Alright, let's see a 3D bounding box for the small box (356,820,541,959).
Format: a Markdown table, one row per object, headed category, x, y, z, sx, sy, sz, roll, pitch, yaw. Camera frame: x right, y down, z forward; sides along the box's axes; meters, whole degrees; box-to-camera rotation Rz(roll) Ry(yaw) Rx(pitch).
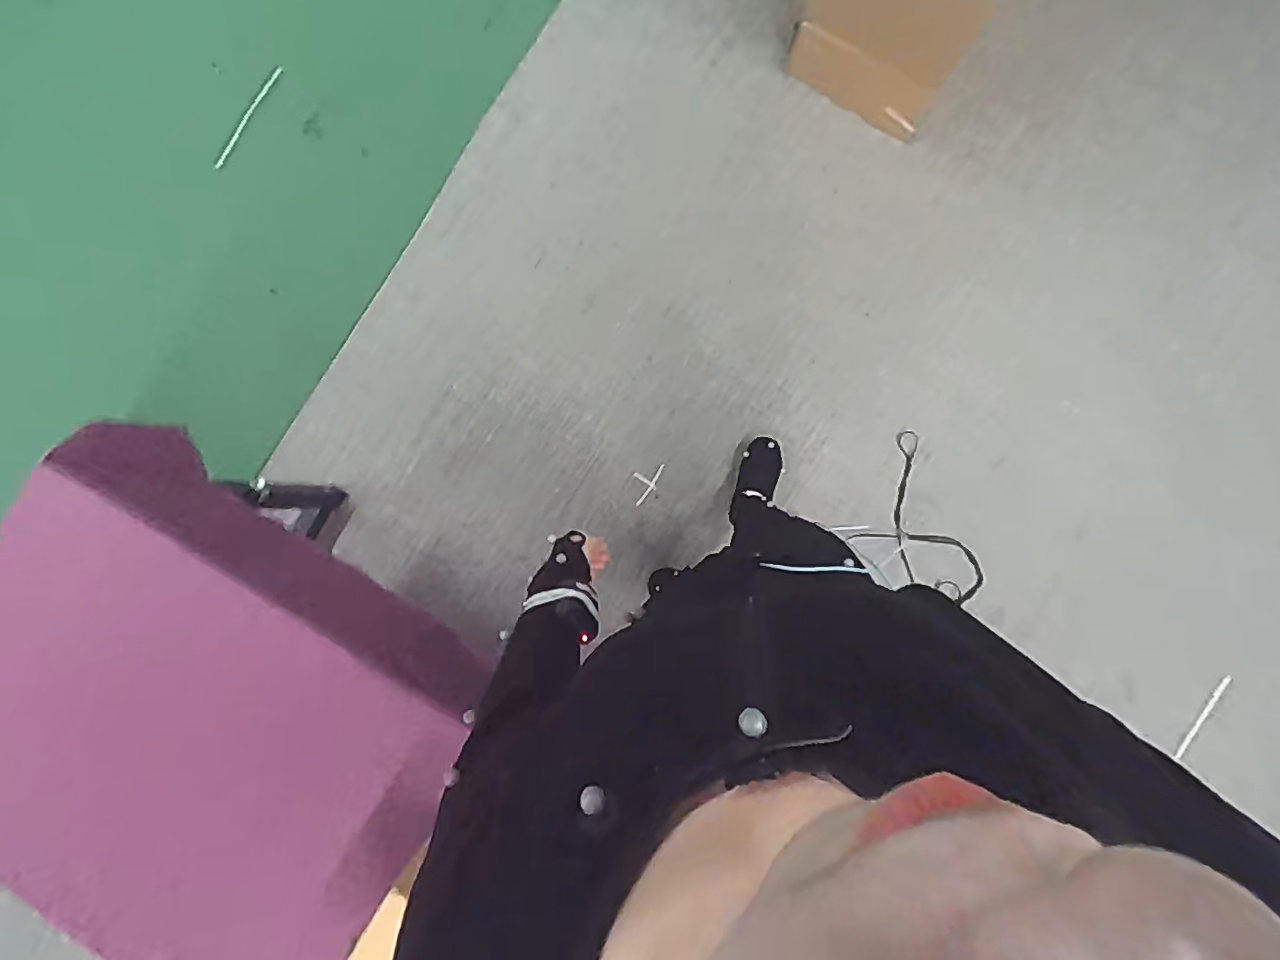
| category | x | y | z | sx | sy | sz | roll | pitch | yaw |
| --- | --- | --- | --- | --- | --- | --- | --- | --- | --- |
| small box | -0.250 | 0.596 | 0.695 | 0.168 | 0.176 | 0.179 | 31 | 90 | 5 |
